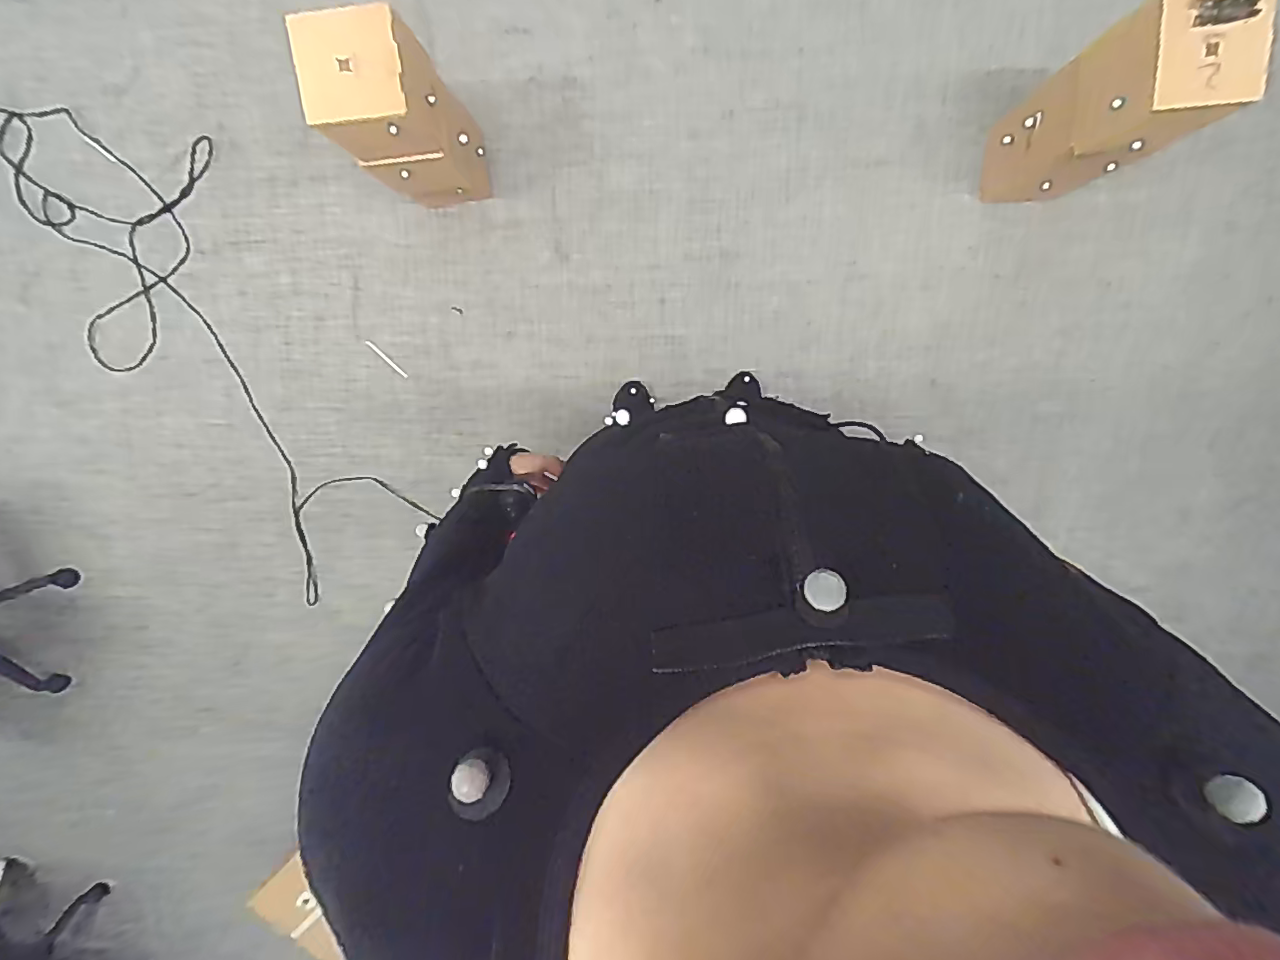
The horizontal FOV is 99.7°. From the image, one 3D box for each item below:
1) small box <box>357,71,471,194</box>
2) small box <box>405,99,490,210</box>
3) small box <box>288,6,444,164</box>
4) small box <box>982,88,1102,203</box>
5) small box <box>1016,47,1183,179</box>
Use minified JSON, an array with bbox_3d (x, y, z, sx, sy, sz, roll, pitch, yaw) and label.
[{"bbox_3d":[-0.475,-0.716,1.129,0.179,0.176,0.168,-5,101,3],"label":"small box"},{"bbox_3d":[-0.471,-0.764,1.286,0.179,0.176,0.168,-8,100,5],"label":"small box"},{"bbox_3d":[-0.478,-0.691,0.968,0.179,0.176,0.168,-6,101,3],"label":"small box"},{"bbox_3d":[0.910,-0.749,1.224,0.168,0.176,0.179,1,100,3],"label":"small box"},{"bbox_3d":[0.892,-0.712,1.066,0.179,0.176,0.168,1,100,4],"label":"small box"}]
